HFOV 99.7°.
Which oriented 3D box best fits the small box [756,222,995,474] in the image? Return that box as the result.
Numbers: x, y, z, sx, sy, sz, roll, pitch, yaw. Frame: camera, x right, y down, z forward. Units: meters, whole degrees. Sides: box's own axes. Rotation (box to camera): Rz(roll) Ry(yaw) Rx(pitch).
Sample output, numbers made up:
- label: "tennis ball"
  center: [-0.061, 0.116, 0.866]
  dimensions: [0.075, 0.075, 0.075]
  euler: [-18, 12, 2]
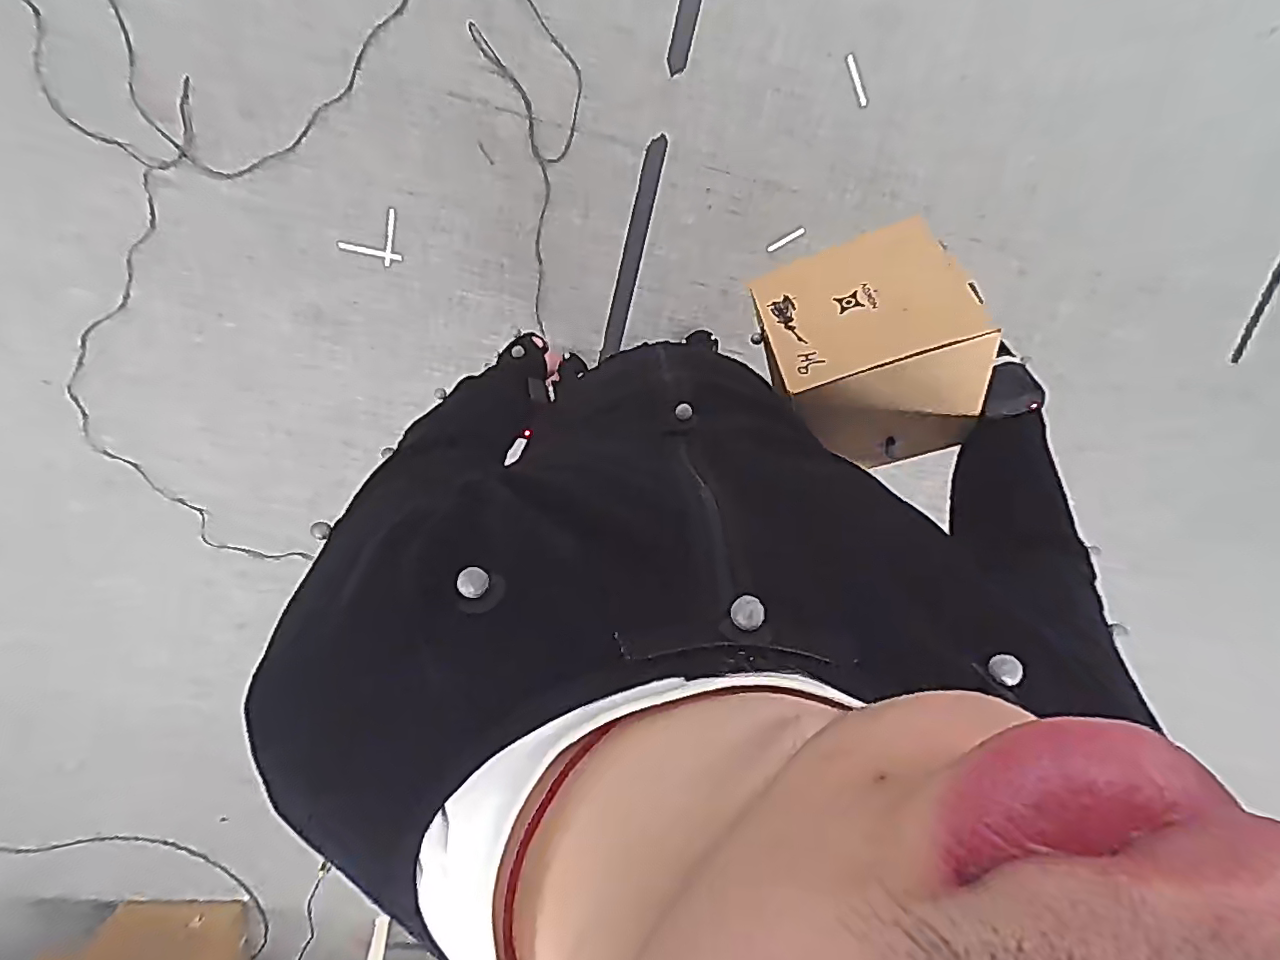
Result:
- label: "small box"
  center: [0.238, -0.130, 0.582]
  dimensions: [0.179, 0.168, 0.176]
  euler: [-16, 145, 13]
